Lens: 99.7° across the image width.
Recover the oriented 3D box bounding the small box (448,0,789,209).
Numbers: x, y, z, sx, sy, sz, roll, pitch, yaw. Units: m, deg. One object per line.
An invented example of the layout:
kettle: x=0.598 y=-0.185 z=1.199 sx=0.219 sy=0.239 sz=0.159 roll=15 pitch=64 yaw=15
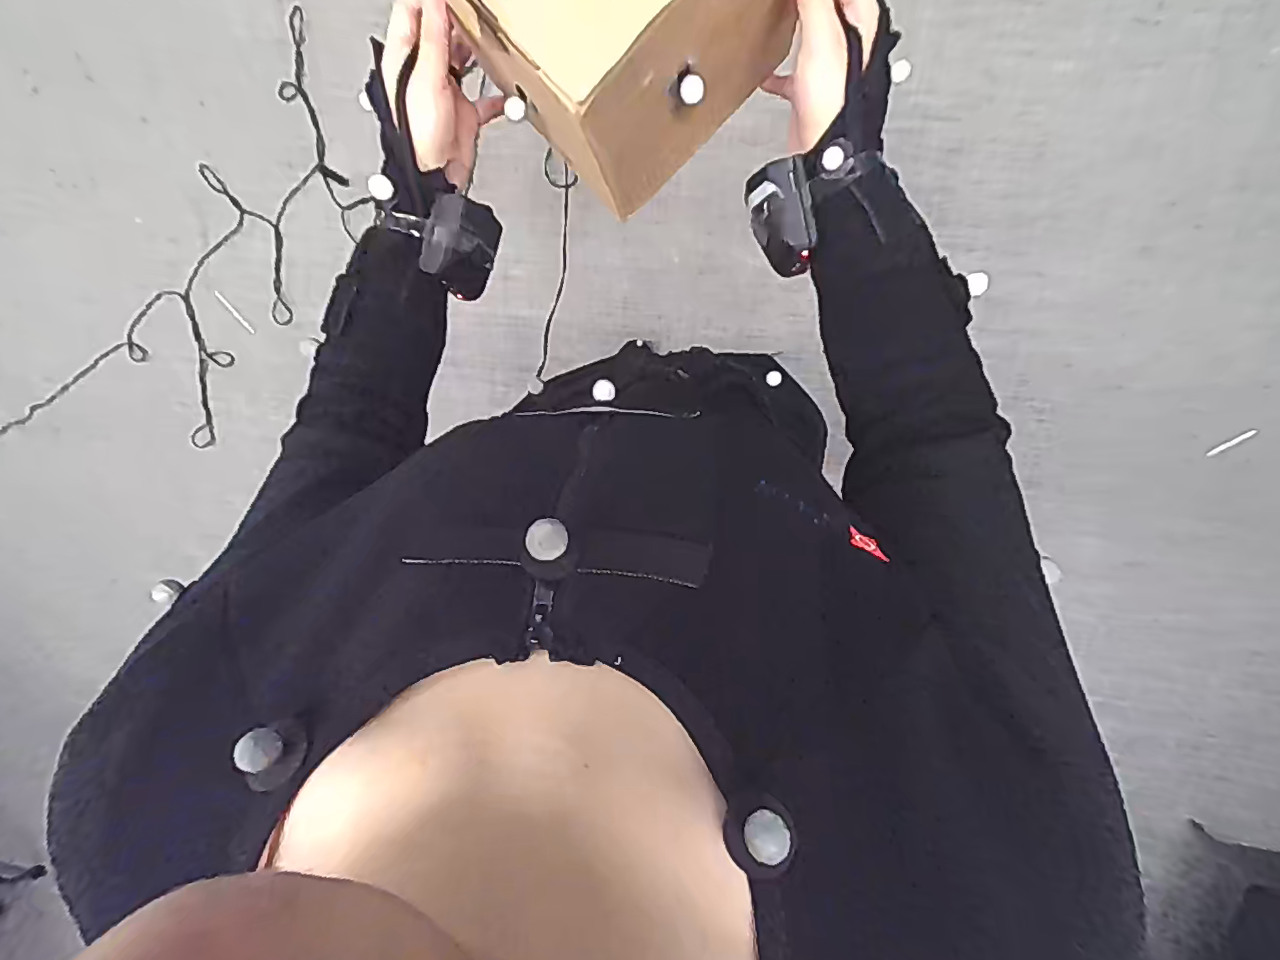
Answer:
small box: x=-0.014 y=-0.318 z=0.349 sx=0.179 sy=0.176 sz=0.168 roll=-43 pitch=90 yaw=10
